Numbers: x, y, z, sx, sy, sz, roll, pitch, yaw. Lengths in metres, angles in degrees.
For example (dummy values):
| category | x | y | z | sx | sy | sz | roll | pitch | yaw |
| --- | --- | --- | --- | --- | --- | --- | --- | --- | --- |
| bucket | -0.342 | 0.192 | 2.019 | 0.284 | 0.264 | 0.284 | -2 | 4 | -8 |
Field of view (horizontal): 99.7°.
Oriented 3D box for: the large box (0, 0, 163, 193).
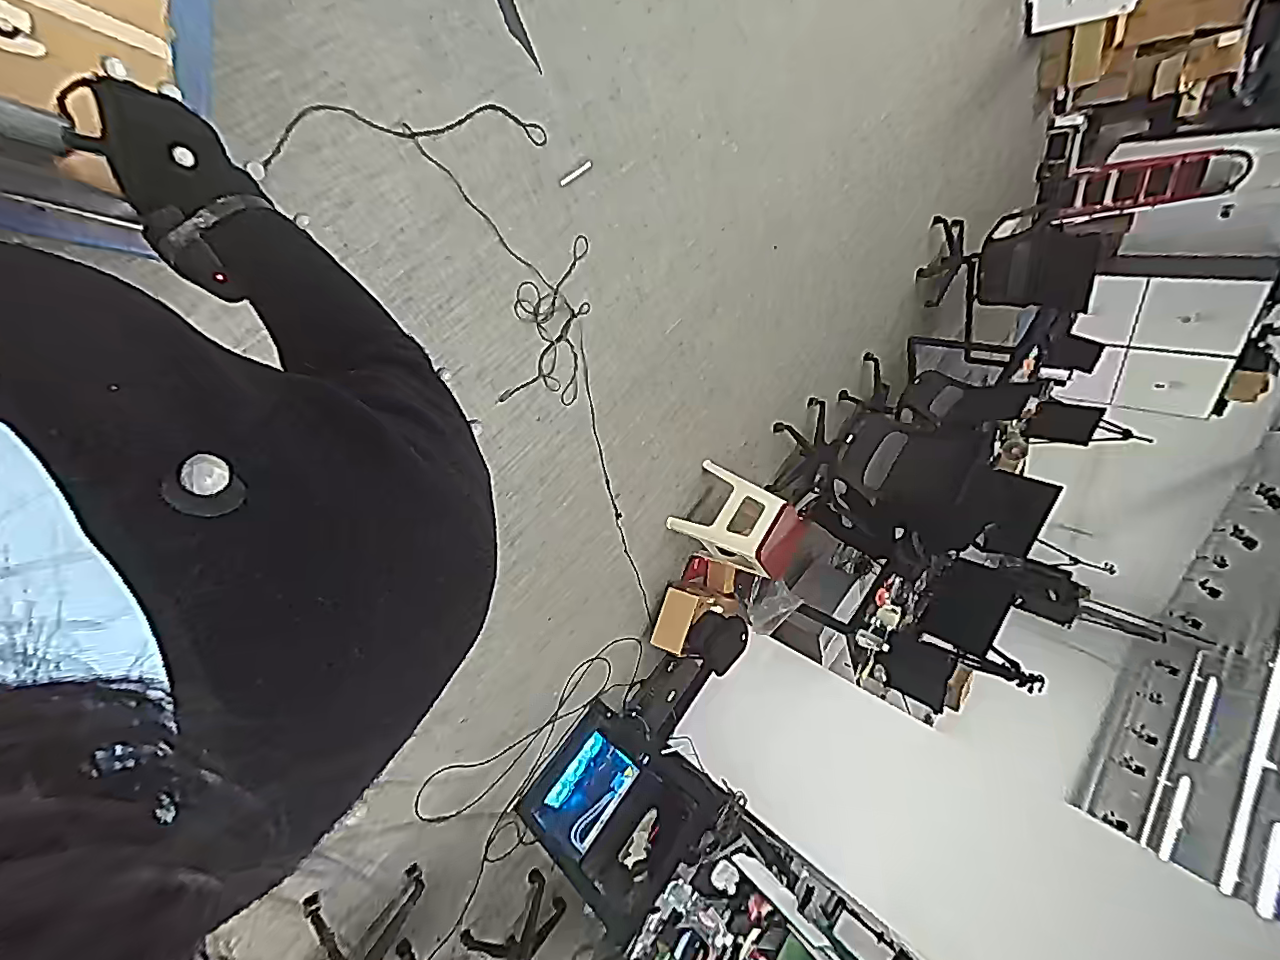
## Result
| category | x | y | z | sx | sy | sz | roll | pitch | yaw |
| --- | --- | --- | --- | --- | --- | --- | --- | --- | --- |
| large box | -0.854 | -0.583 | 0.638 | 0.408 | 0.320 | 0.320 | -1 | 107 | -49 |
